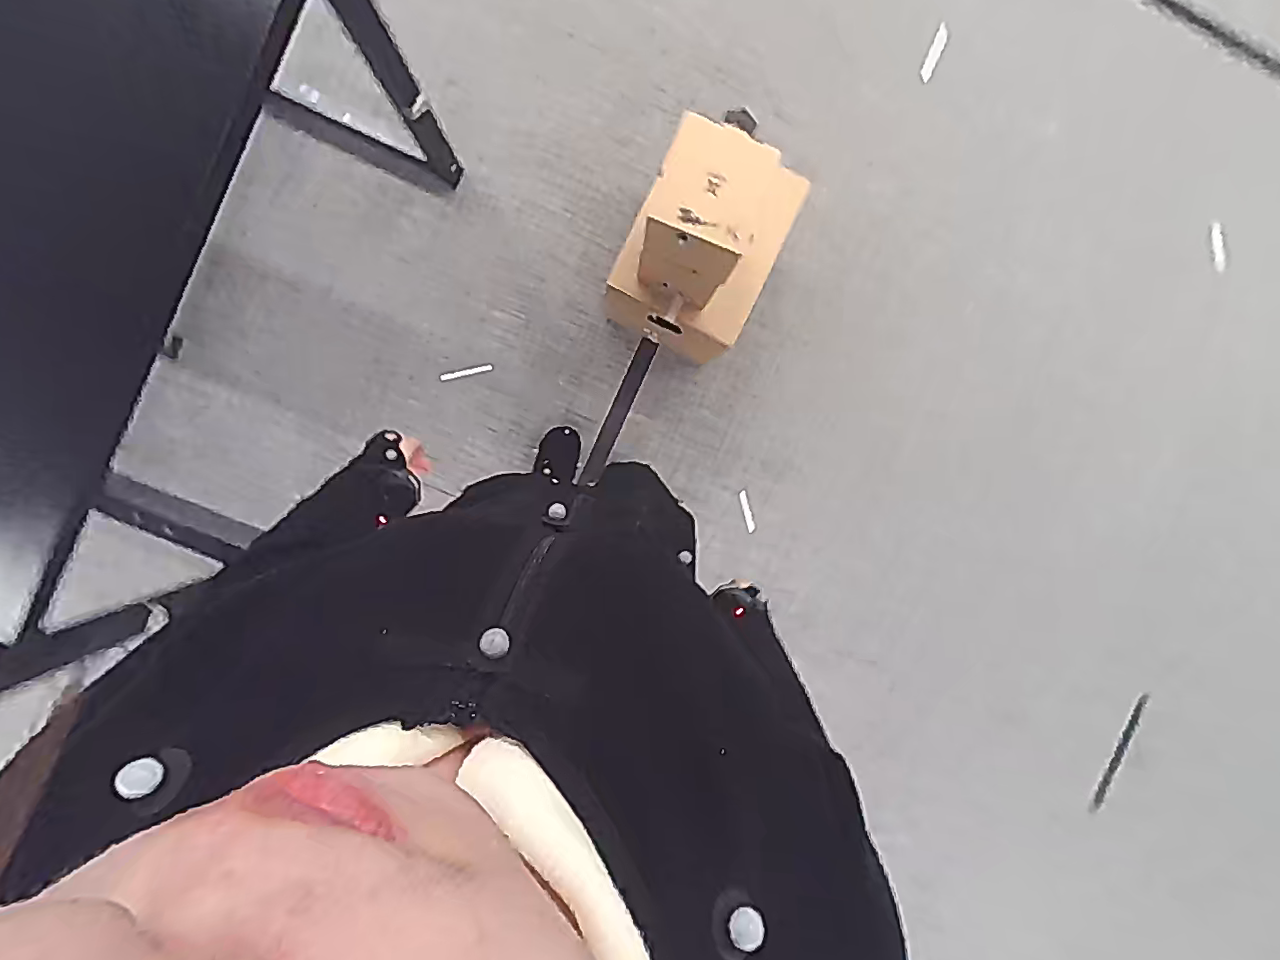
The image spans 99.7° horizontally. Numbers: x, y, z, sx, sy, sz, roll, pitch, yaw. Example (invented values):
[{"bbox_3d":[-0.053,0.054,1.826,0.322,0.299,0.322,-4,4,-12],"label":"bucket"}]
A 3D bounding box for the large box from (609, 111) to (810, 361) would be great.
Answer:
[{"bbox_3d":[0.142,-0.554,1.317,0.320,0.320,0.408,26,91,-7],"label":"large box"}]

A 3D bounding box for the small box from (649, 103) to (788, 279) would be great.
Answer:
[{"bbox_3d":[0.119,-0.472,0.911,0.168,0.176,0.179,21,91,-3],"label":"small box"}]

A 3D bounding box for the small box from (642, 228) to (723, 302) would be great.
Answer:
[{"bbox_3d":[0.110,-0.485,1.075,0.168,0.176,0.179,25,93,-4],"label":"small box"}]
